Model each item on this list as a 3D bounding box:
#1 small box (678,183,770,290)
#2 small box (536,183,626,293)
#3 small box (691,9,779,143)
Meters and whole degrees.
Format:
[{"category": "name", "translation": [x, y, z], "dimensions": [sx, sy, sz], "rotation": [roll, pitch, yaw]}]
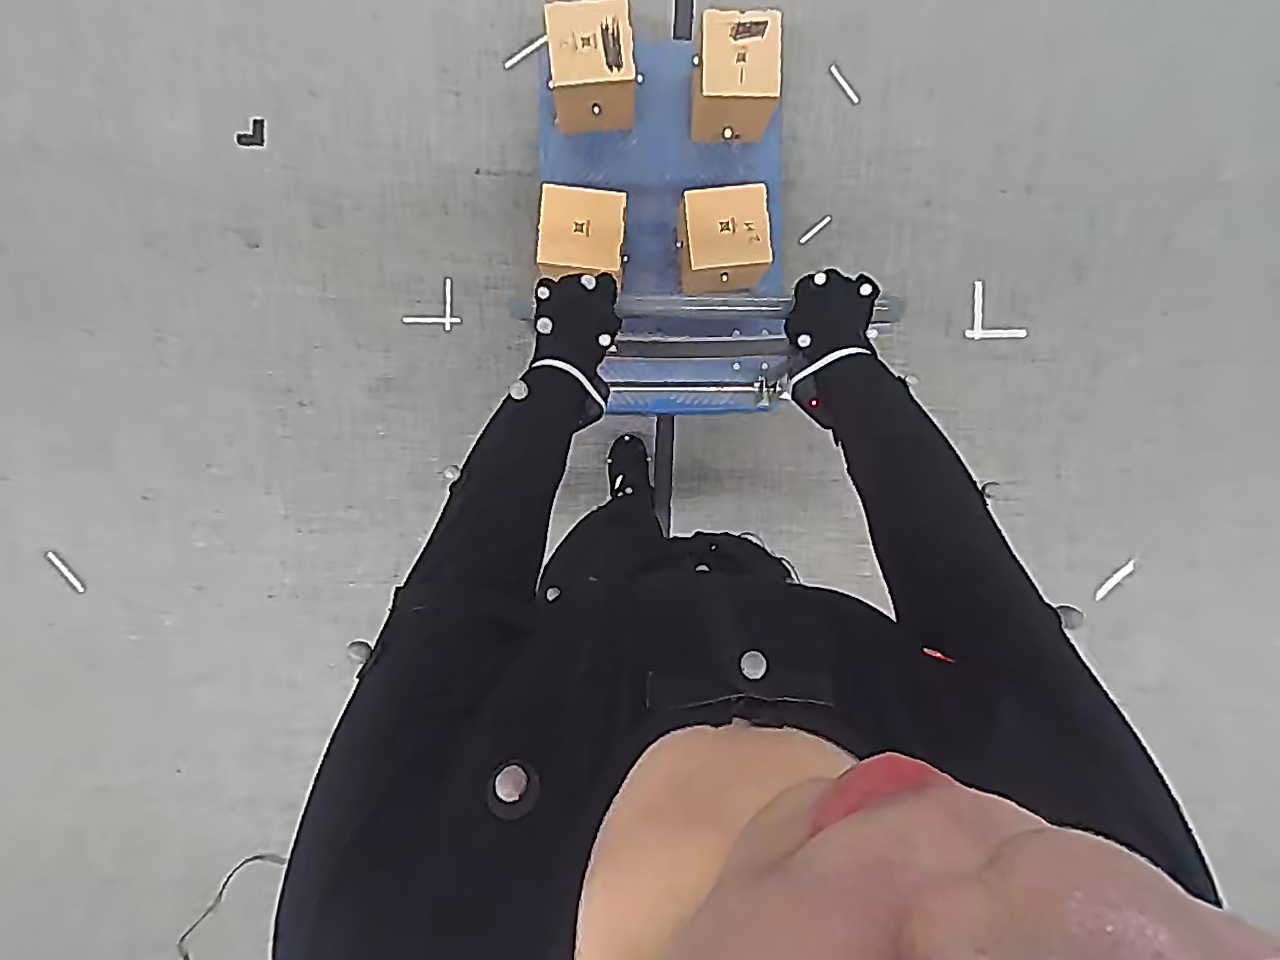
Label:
[{"category": "small box", "translation": [0.180, -0.538, 1.218], "dimensions": [0.179, 0.176, 0.168], "rotation": [-6, 92, -1]}, {"category": "small box", "translation": [-0.127, -0.531, 1.208], "dimensions": [0.179, 0.176, 0.168], "rotation": [5, 91, -4]}, {"category": "small box", "translation": [0.205, -0.892, 1.206], "dimensions": [0.168, 0.176, 0.179], "rotation": [0, 93, -2]}]
